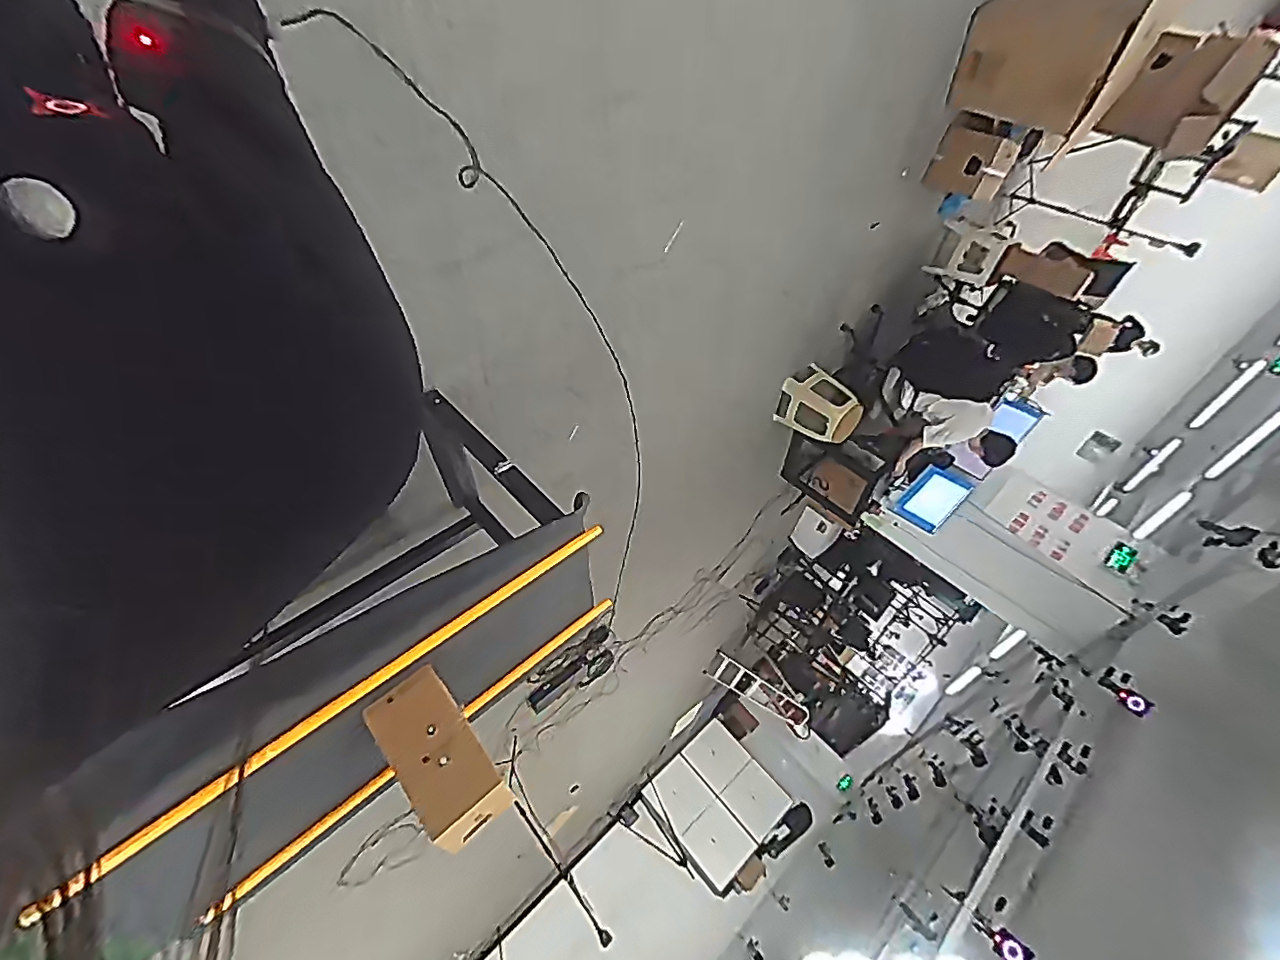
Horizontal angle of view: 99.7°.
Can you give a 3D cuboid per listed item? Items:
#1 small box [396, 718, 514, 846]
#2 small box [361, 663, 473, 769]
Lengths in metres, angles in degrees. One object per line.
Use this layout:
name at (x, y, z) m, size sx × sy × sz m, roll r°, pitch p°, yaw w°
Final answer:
small box at (-0.403, 0.659, 1.189) m, size 0.168 × 0.176 × 0.179 m, roll -34°, pitch 148°, yaw -27°
small box at (-0.513, 0.561, 1.263) m, size 0.168 × 0.176 × 0.179 m, roll -36°, pitch 150°, yaw -26°
